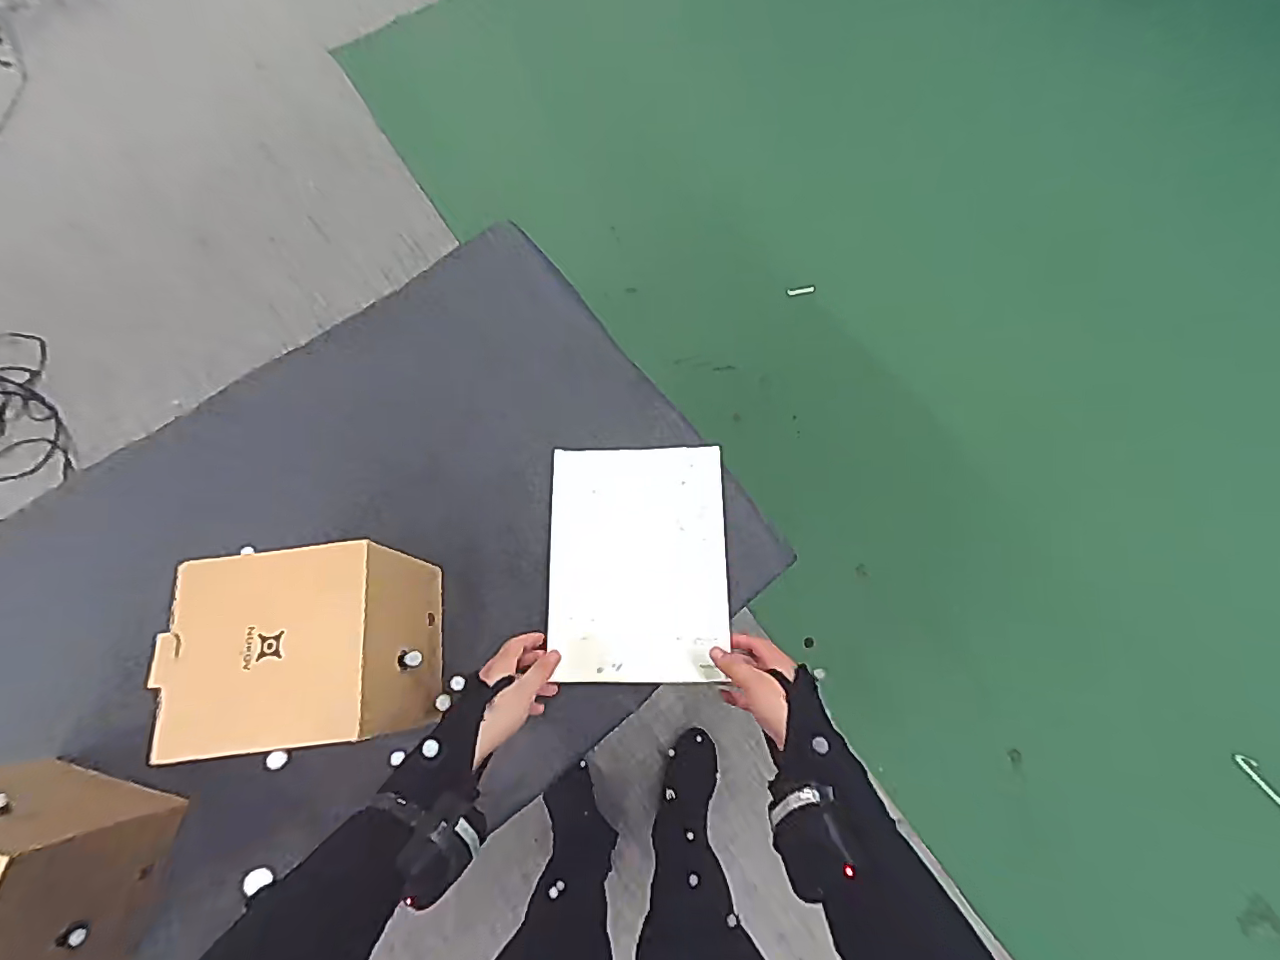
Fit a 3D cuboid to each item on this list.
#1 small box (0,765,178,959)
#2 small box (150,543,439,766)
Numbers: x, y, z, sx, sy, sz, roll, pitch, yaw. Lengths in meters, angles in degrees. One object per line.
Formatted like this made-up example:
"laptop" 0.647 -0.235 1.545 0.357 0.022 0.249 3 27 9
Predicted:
"small box" -0.579 0.373 0.479 0.179 0.176 0.168 12 73 7
"small box" -0.310 0.163 0.529 0.179 0.176 0.168 -8 73 2
